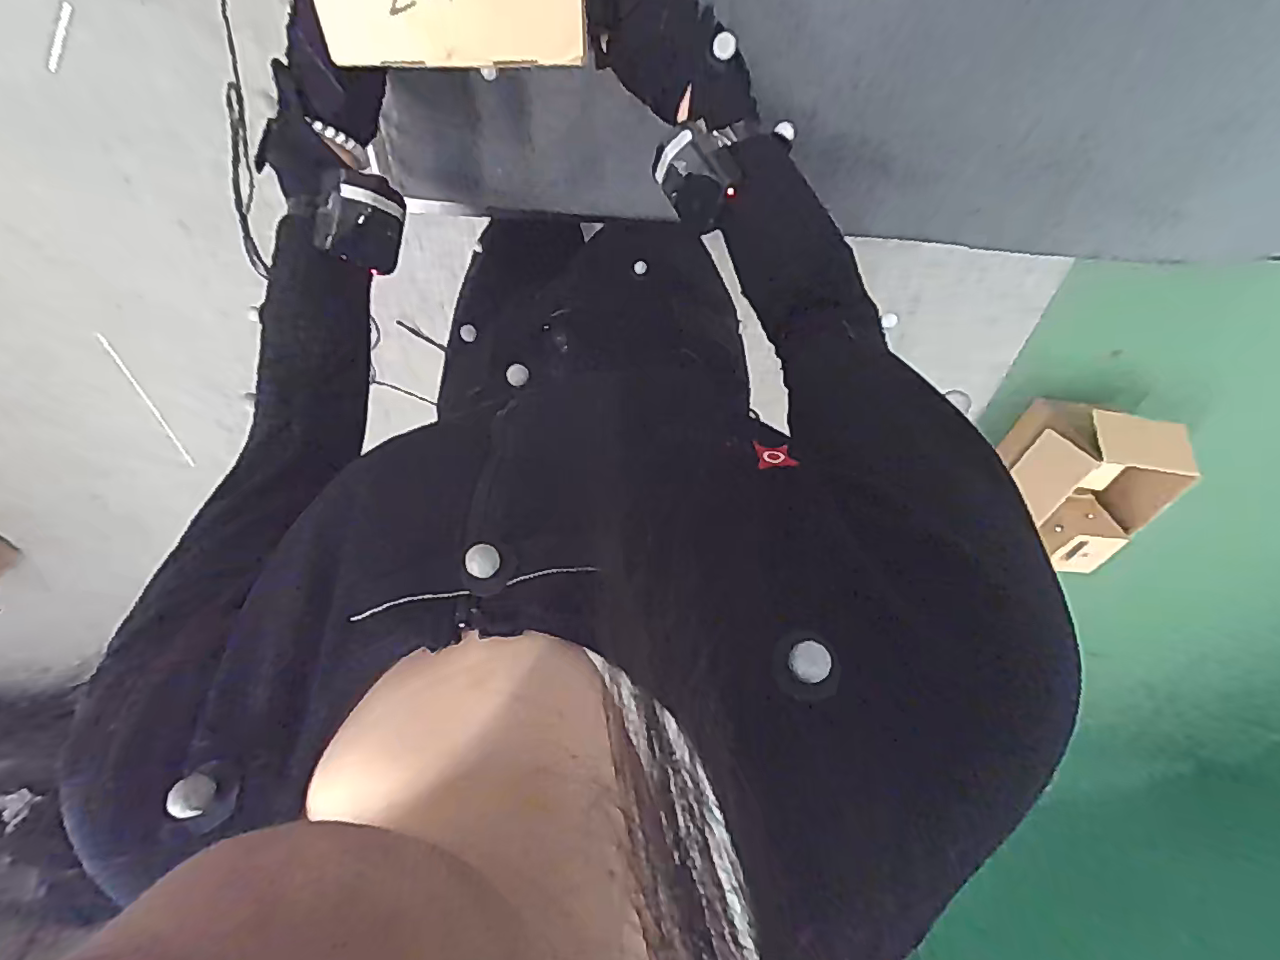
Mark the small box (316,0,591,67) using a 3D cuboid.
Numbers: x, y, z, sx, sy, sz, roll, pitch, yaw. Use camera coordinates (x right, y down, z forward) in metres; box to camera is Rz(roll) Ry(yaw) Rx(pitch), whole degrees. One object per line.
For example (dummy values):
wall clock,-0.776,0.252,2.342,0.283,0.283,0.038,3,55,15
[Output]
small box,-0.119,-0.388,0.358,0.168,0.176,0.179,-1,131,-2
